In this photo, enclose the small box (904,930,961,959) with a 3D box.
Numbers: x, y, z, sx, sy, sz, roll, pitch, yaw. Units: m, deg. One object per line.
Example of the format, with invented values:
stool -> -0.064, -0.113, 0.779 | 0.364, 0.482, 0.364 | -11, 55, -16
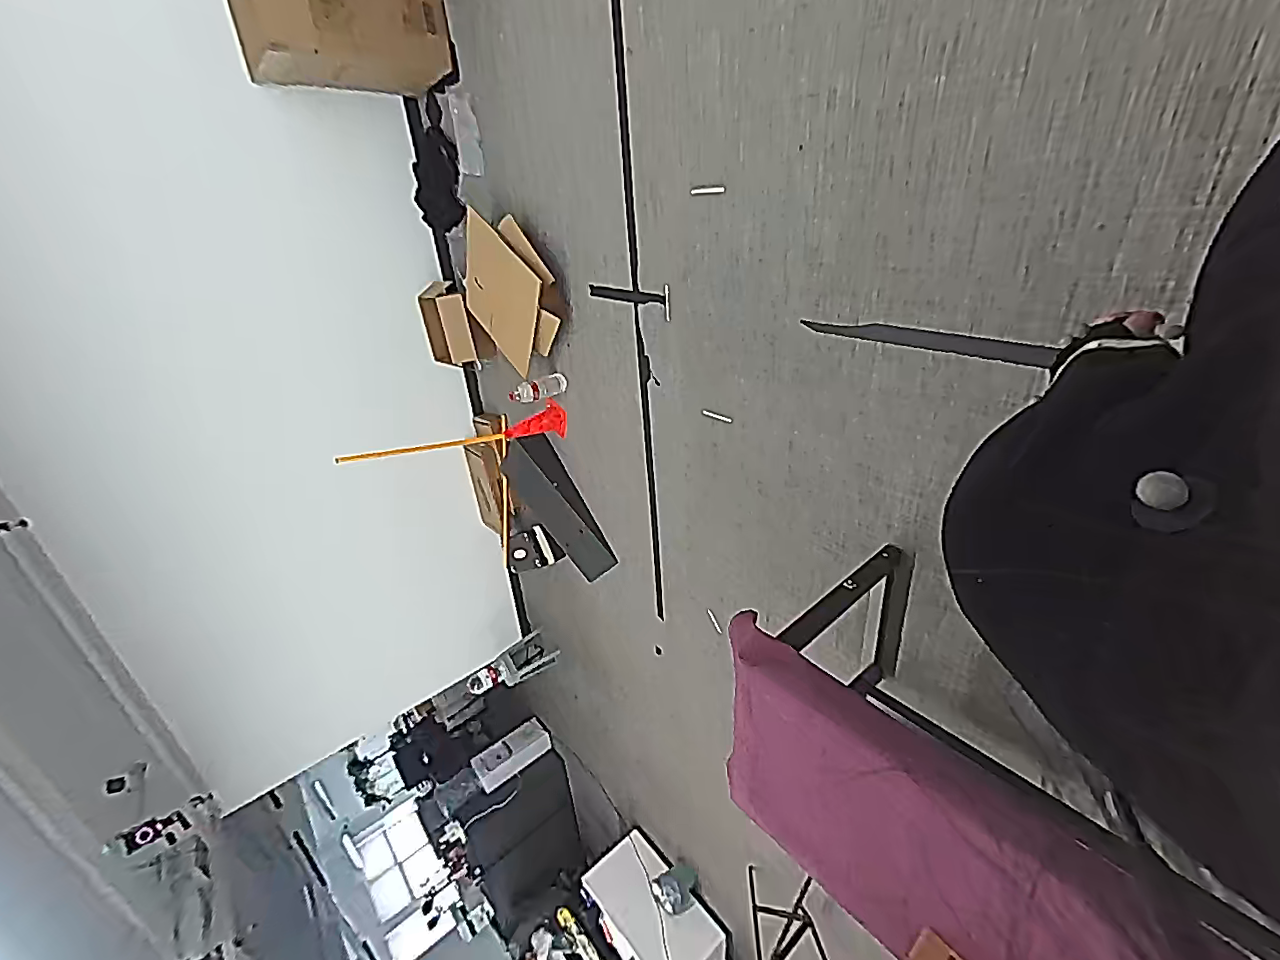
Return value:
small box -> 0.606, 1.085, 1.105 | 0.168, 0.176, 0.179 | 31, 132, 42
